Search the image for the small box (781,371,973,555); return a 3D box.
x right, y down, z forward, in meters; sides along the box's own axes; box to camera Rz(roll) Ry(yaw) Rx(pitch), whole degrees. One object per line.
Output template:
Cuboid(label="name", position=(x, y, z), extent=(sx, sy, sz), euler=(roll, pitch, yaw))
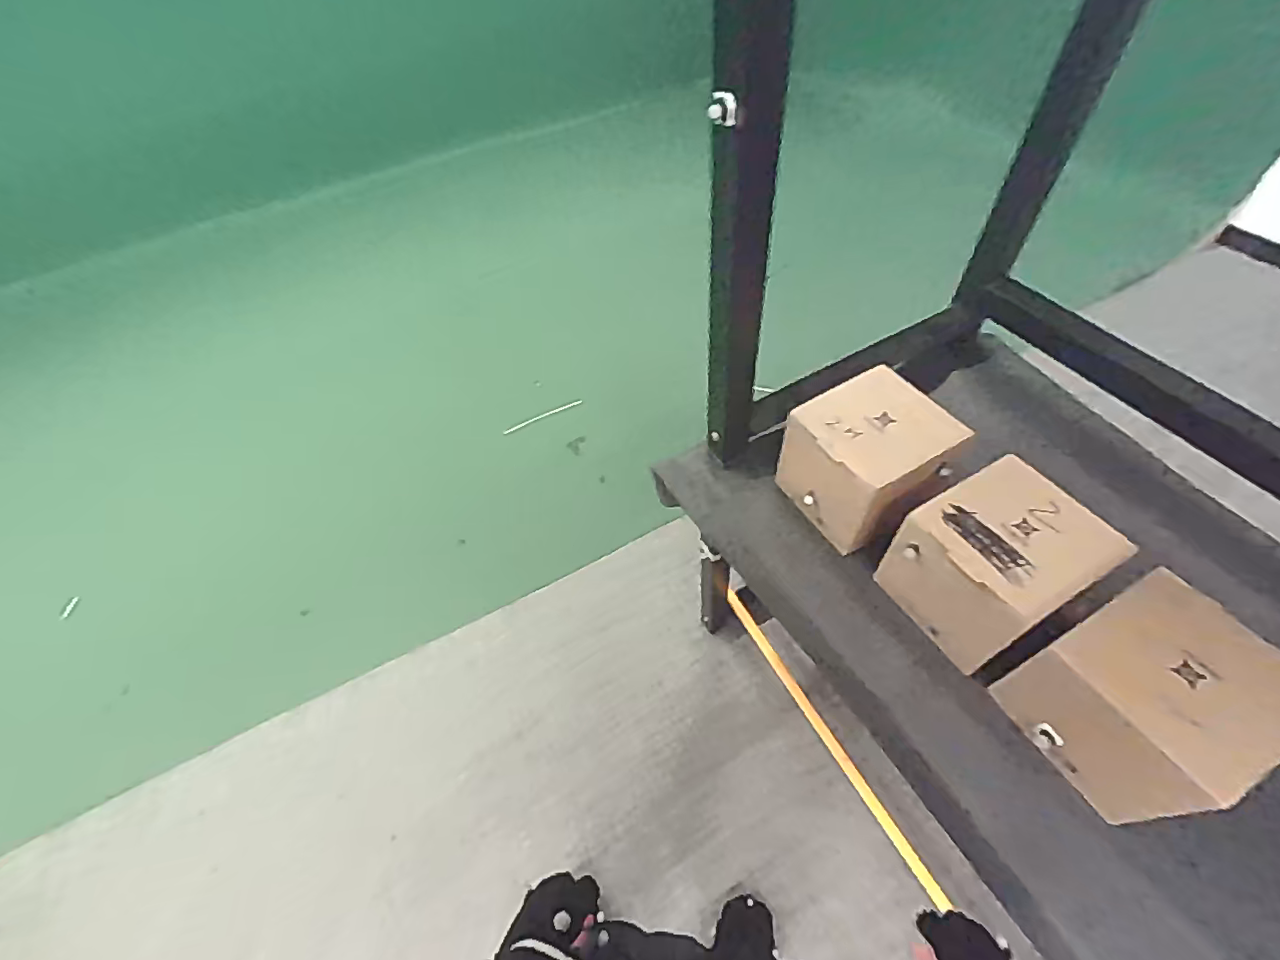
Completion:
Cuboid(label="small box", position=(0.330, -0.023, 0.795), extent=(0.179, 0.176, 0.168), euler=(-27, 55, -14))
